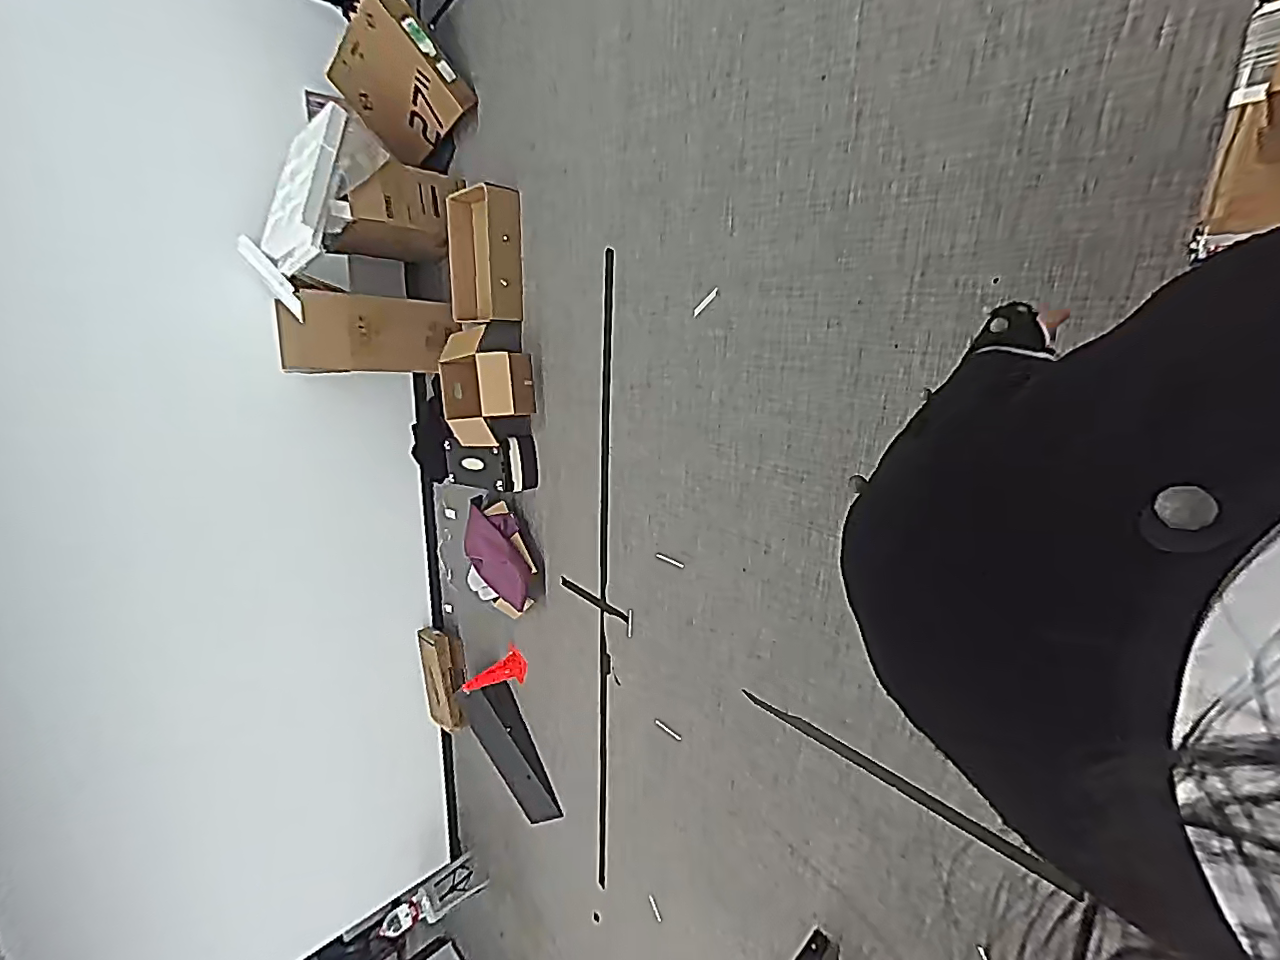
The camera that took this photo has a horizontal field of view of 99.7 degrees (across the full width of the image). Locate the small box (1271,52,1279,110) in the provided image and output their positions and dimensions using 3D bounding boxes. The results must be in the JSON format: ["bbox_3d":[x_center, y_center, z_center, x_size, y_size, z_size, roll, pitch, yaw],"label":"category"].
[{"bbox_3d":[0.629,-0.394,0.407,0.168,0.176,0.179,23,118,45],"label":"small box"}]

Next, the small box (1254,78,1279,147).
[{"bbox_3d":[0.745,-0.434,0.517,0.168,0.176,0.179,22,117,44],"label":"small box"}]
